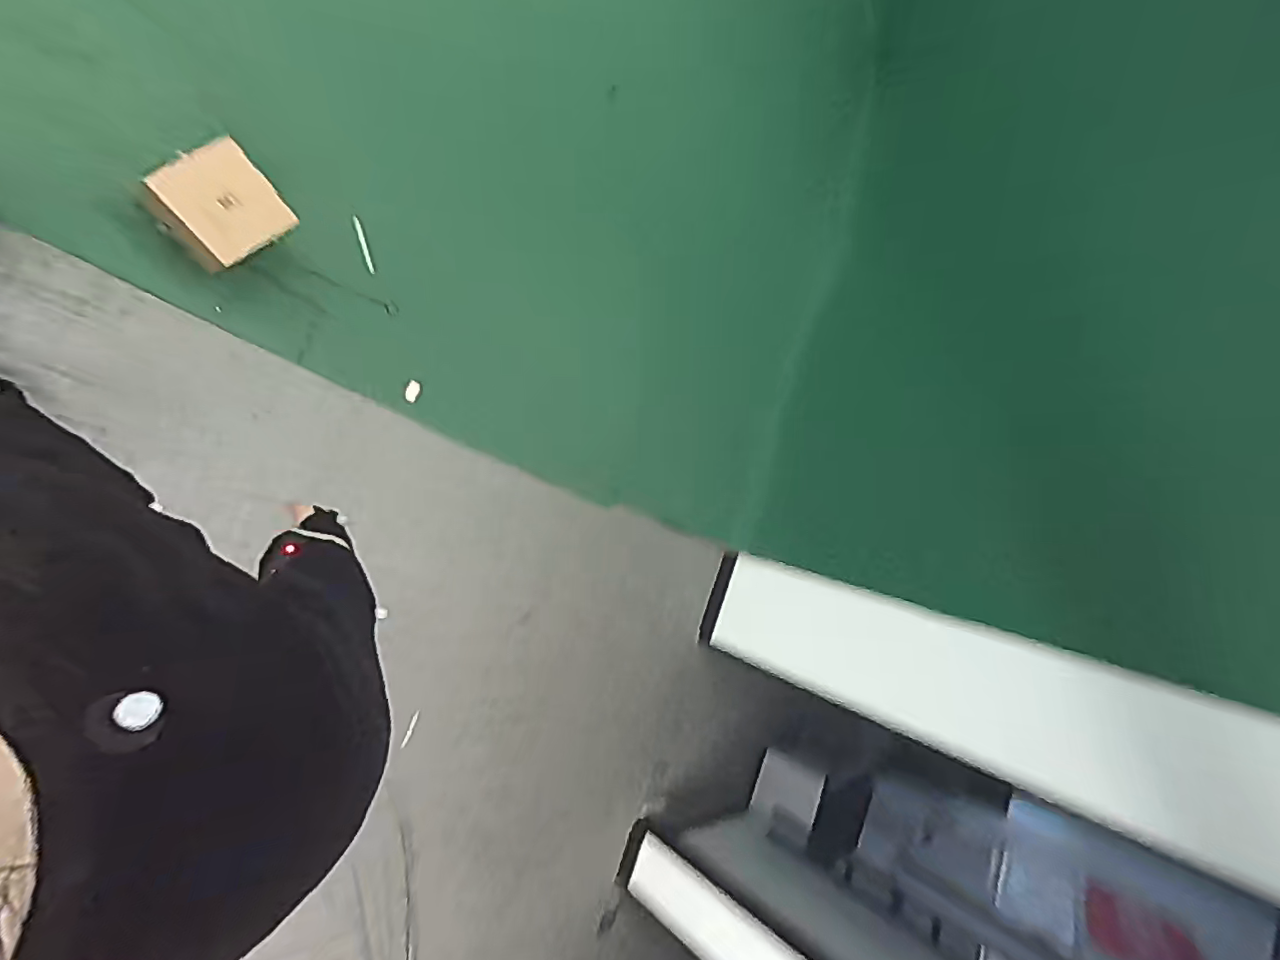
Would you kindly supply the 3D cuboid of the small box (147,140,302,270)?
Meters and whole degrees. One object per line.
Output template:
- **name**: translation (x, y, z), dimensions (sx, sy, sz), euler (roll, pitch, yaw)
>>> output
- **small box**: translation (-0.832, -0.542, 1.081), dimensions (0.179, 0.176, 0.168), euler (-52, 132, -25)
